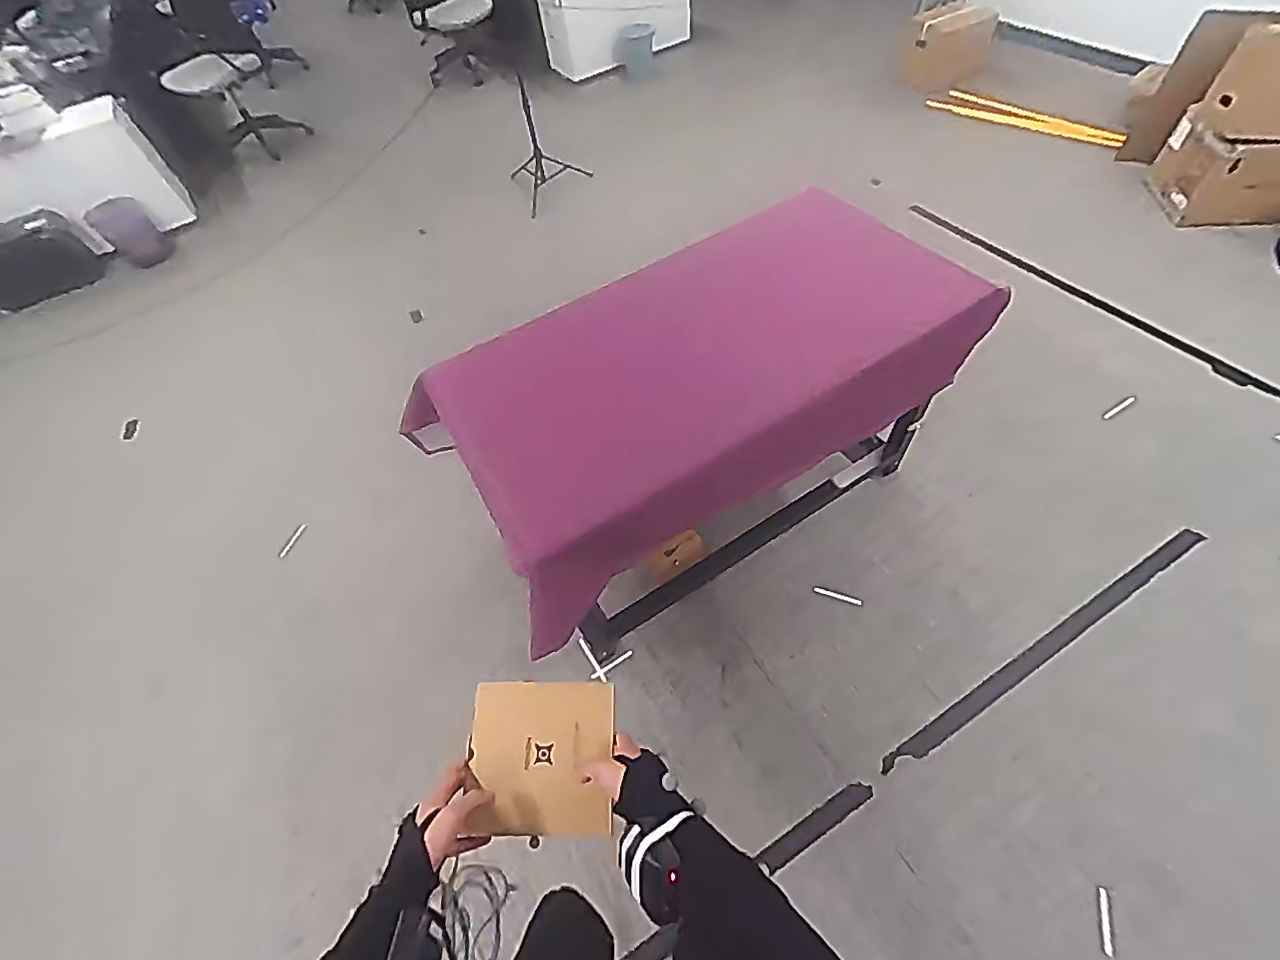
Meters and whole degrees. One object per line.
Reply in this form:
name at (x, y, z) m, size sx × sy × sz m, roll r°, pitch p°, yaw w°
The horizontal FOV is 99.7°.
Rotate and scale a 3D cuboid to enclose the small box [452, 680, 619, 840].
small box at (-0.120, 0.363, 0.705) m, size 0.179 × 0.176 × 0.168 m, roll 1°, pitch 61°, yaw 0°
